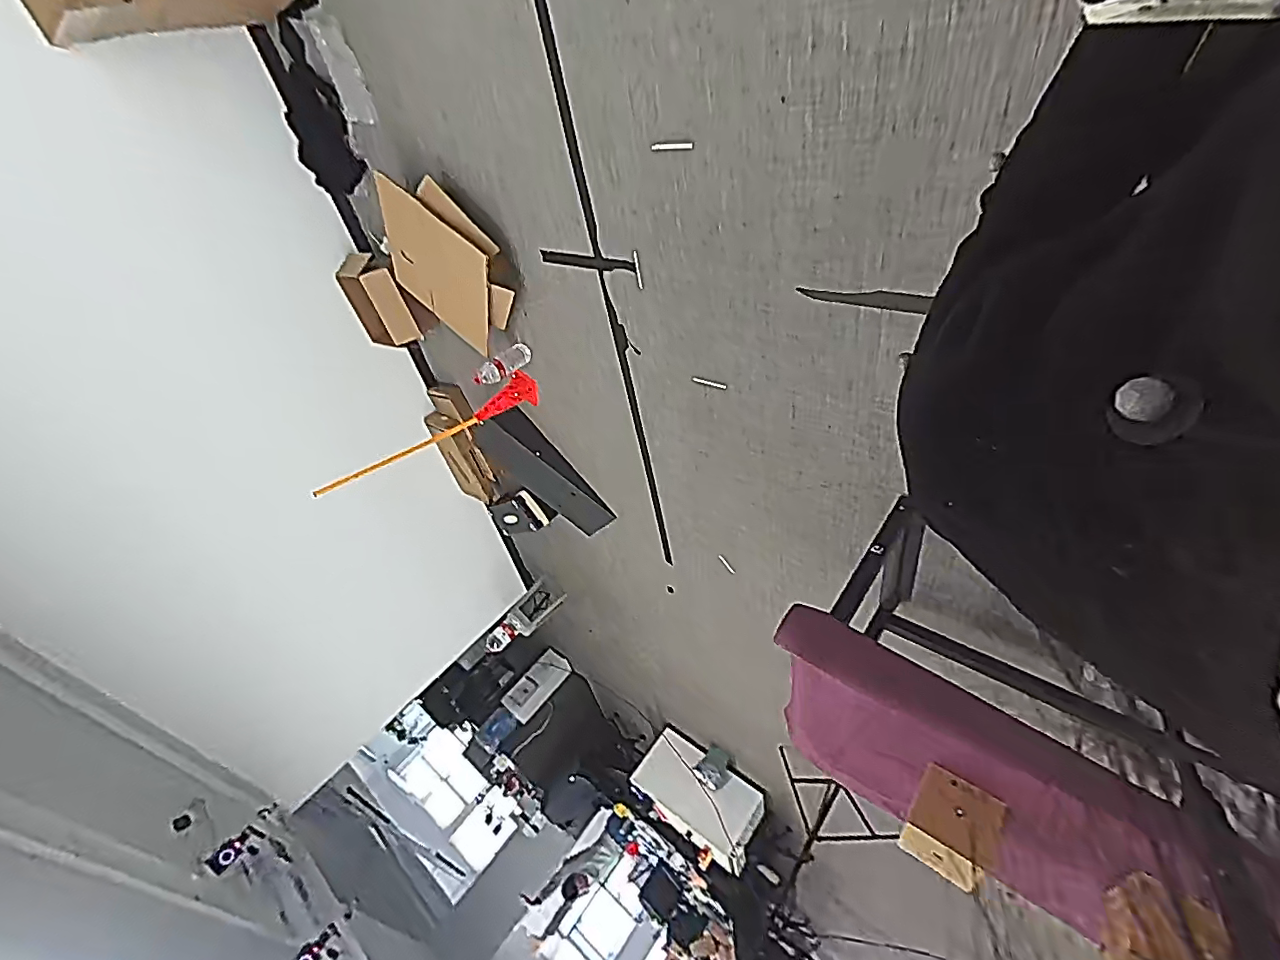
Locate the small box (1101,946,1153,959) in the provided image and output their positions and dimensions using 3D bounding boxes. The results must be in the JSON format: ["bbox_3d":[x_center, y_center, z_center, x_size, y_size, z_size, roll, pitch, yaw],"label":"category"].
[{"bbox_3d":[0.930,0.992,0.968,0.168,0.176,0.179,18,139,39],"label":"small box"}]

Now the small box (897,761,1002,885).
[{"bbox_3d":[0.749,0.822,1.309,0.168,0.176,0.179,23,142,35],"label":"small box"}]

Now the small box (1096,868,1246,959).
[{"bbox_3d":[1.039,0.912,1.063,0.168,0.176,0.179,22,142,35],"label":"small box"}]
